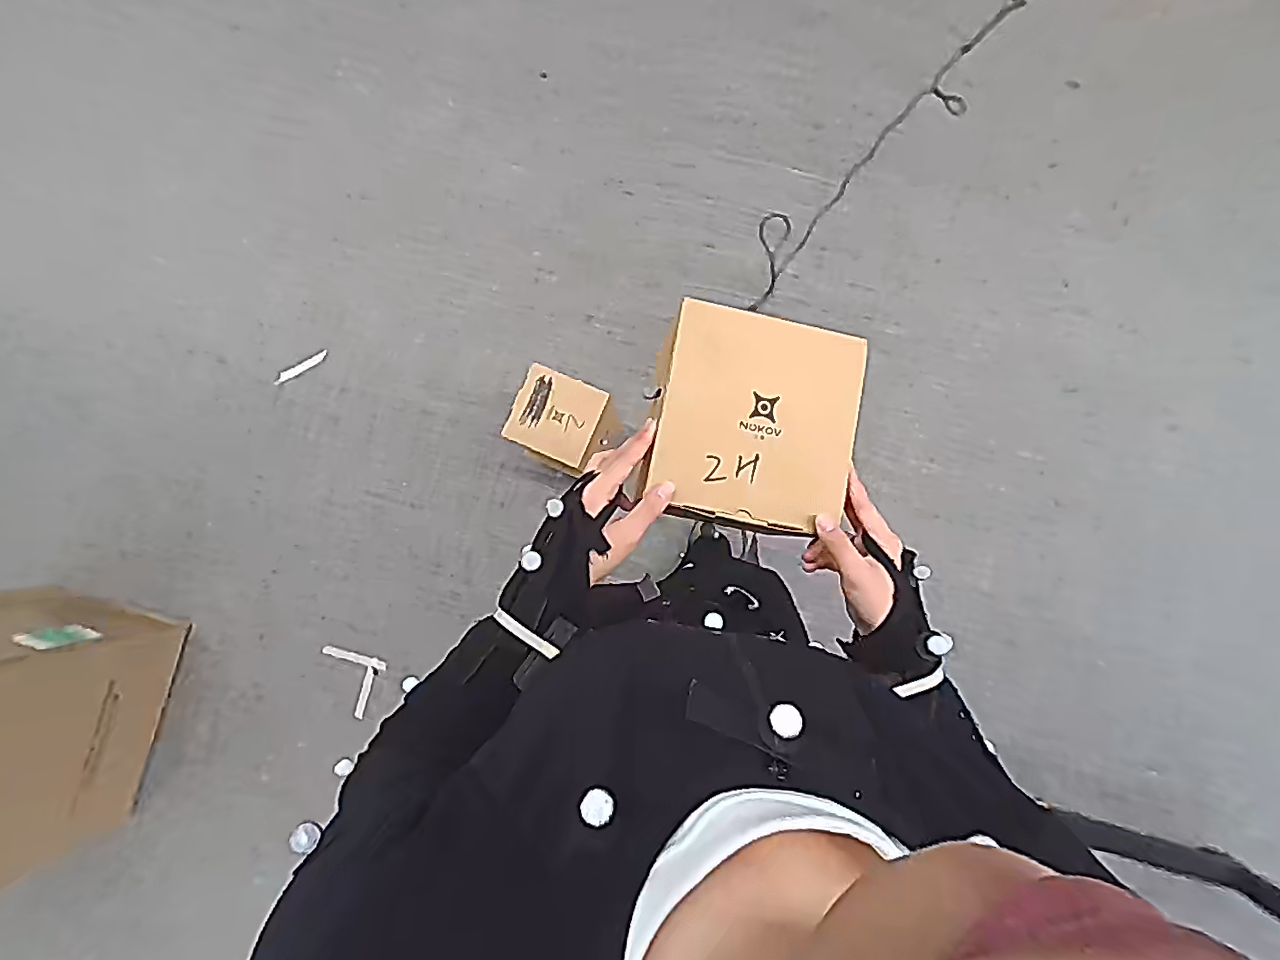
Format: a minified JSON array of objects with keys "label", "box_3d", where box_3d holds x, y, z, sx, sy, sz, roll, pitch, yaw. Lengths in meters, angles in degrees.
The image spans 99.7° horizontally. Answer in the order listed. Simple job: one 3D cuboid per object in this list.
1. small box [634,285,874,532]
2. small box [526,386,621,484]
[{"label":"small box","box_3d":[0.093,-0.051,0.515,0.168,0.176,0.179,12,83,-5]},{"label":"small box","box_3d":[-0.154,-0.102,1.321,0.168,0.176,0.179,24,89,5]}]
